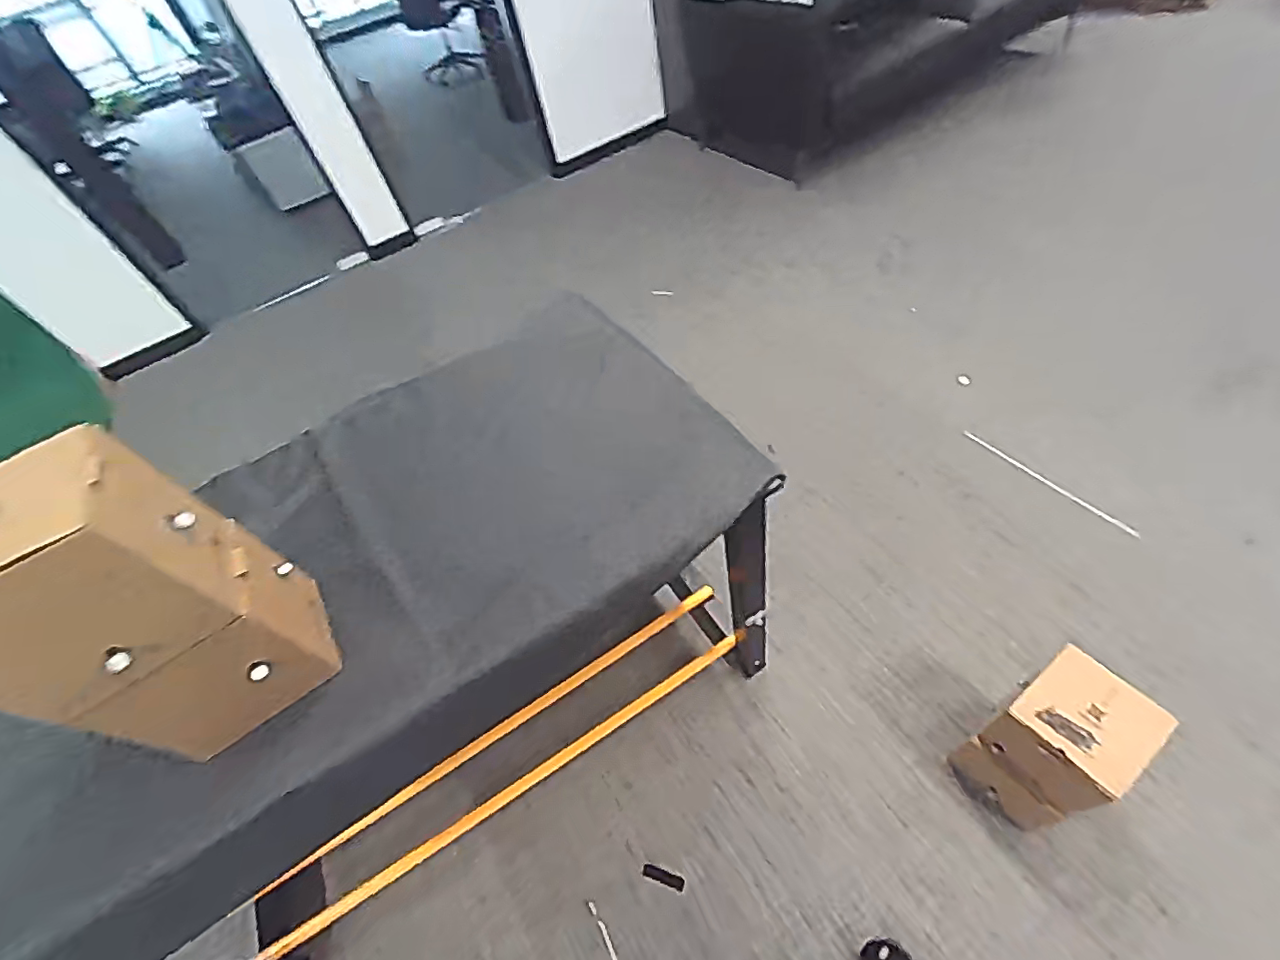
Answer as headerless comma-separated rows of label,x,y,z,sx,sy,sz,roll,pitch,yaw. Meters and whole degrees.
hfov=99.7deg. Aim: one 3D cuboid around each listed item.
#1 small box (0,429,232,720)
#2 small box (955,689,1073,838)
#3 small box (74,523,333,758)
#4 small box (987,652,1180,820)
small box,-0.531,0.090,0.518,0.179,0.176,0.168,-33,51,-15
small box,0.738,0.539,1.026,0.179,0.176,0.168,-35,52,-16
small box,-0.498,0.191,0.643,0.179,0.176,0.168,-34,51,-15
small box,0.720,0.431,0.903,0.179,0.176,0.168,-34,52,-16
